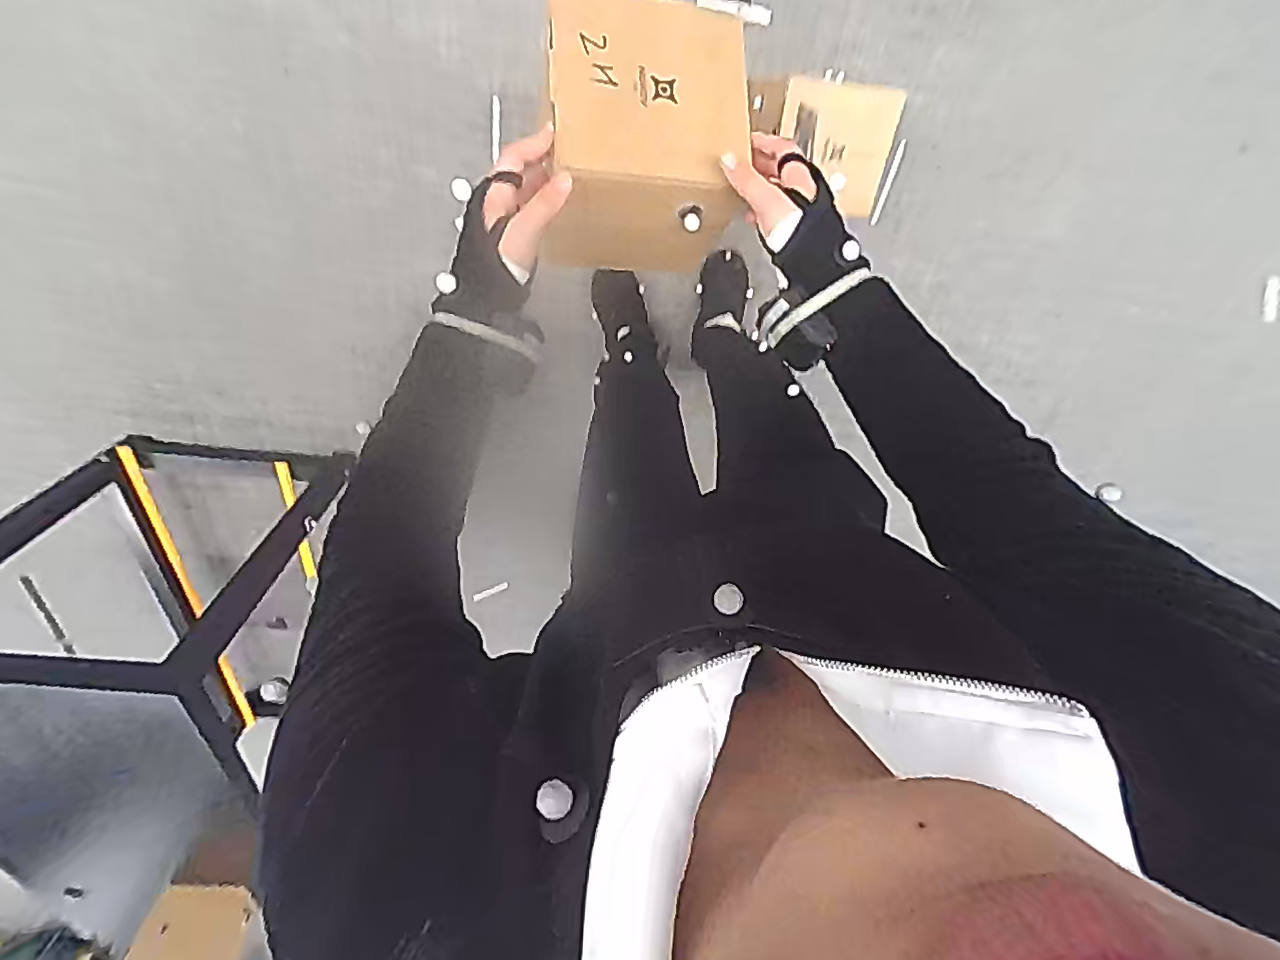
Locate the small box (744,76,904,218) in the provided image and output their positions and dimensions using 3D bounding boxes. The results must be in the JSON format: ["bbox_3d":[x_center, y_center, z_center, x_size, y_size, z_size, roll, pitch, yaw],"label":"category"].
[{"bbox_3d":[0.278,-0.532,0.868,0.179,0.176,0.168,4,125,-6],"label":"small box"}]

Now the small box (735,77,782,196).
[{"bbox_3d":[0.280,-0.629,1.003,0.168,0.176,0.179,4,125,-5],"label":"small box"}]

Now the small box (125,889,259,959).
[{"bbox_3d":[-1.036,1.076,1.254,0.179,0.176,0.168,5,125,-6],"label":"small box"}]
